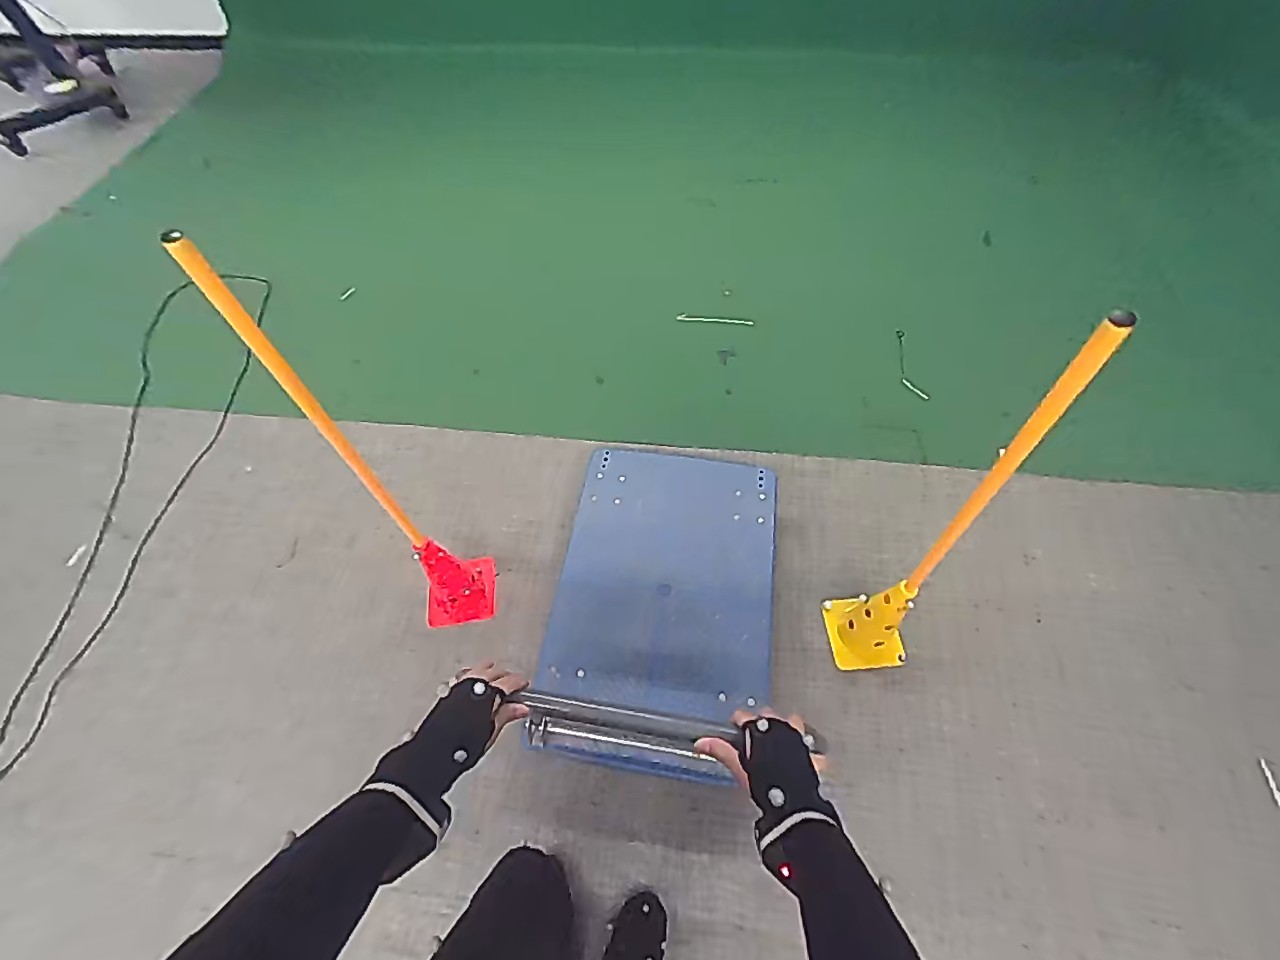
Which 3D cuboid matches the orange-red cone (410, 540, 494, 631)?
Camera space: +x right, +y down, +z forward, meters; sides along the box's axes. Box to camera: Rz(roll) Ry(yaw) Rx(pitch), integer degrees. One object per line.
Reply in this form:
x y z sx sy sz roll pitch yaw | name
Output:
-0.551 0.261 1.493 0.199 0.360 0.198 -8 57 -2 | orange-red cone
